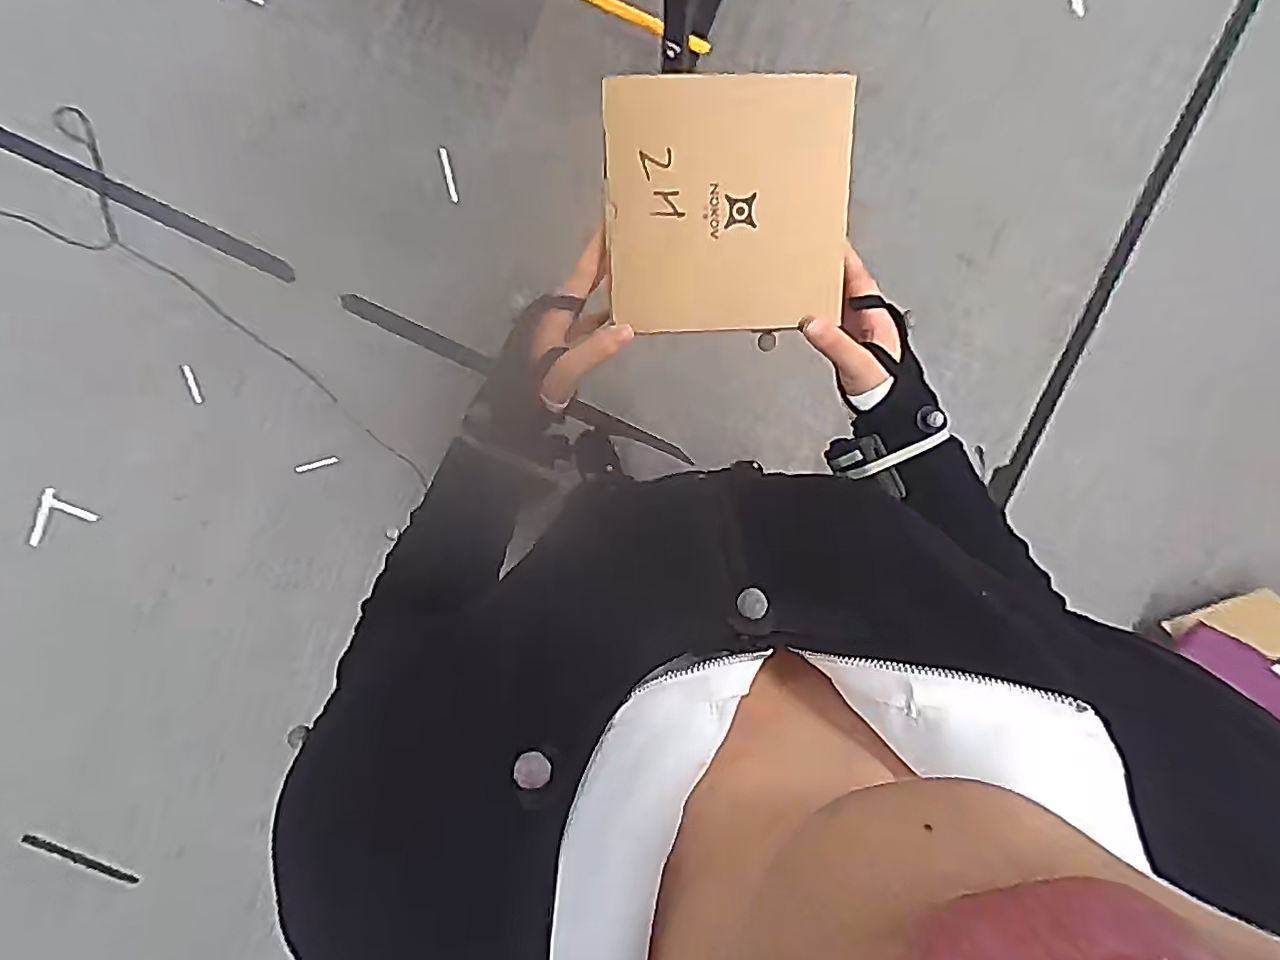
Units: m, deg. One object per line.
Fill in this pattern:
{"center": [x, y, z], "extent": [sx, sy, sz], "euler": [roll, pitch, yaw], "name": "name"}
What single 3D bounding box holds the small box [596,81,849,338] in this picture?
{"center": [0.053, -0.210, 0.461], "extent": [0.179, 0.176, 0.168], "euler": [-3, 105, -3], "name": "small box"}
